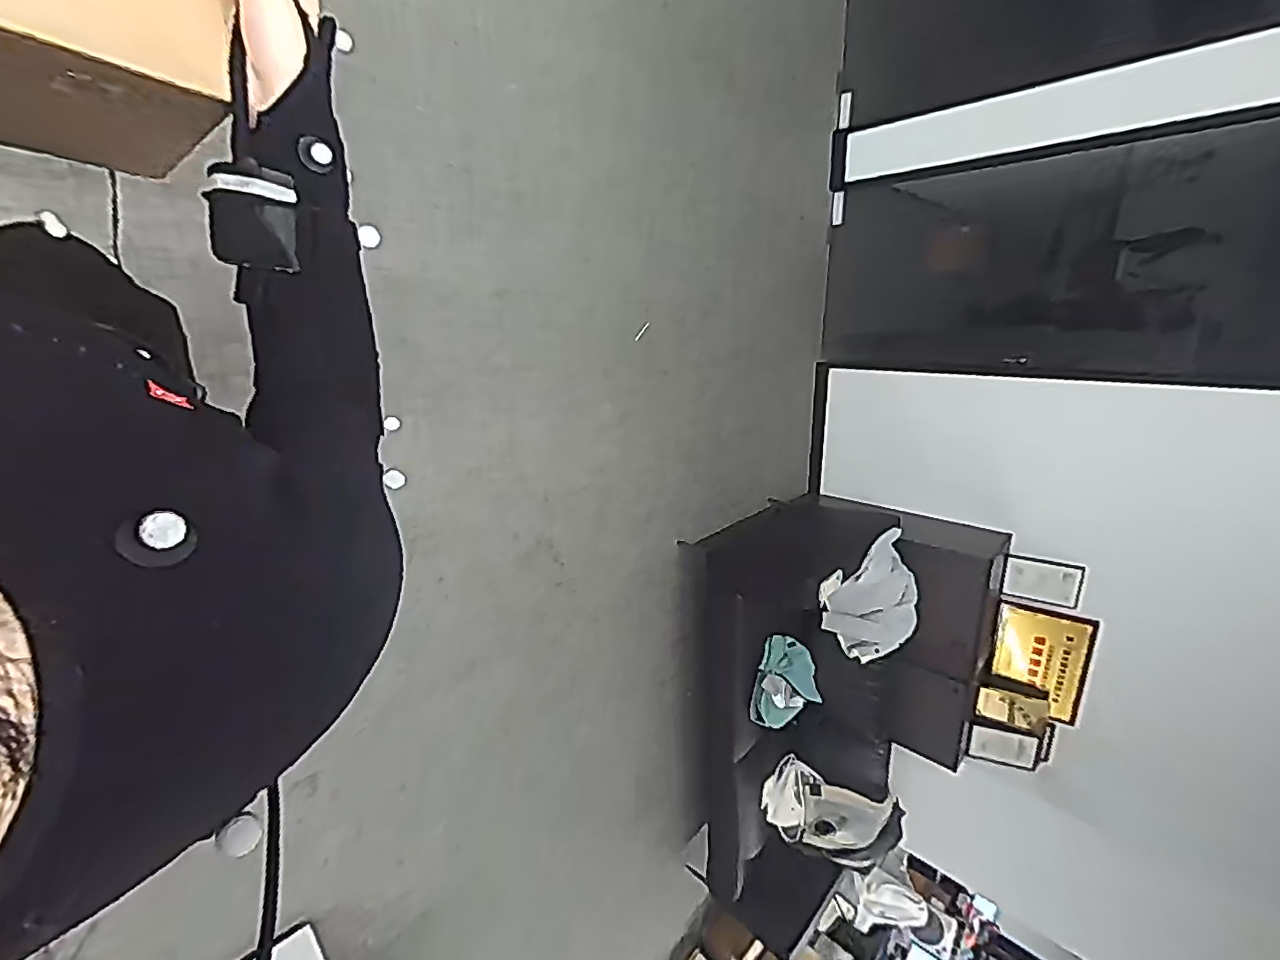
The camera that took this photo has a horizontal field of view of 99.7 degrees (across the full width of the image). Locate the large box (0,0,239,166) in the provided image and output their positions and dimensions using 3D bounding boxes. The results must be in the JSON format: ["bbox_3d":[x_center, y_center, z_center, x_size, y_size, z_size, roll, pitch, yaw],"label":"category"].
[{"bbox_3d":[-0.504,-0.411,0.277,0.408,0.320,0.320,-10,110,-49],"label":"large box"}]
